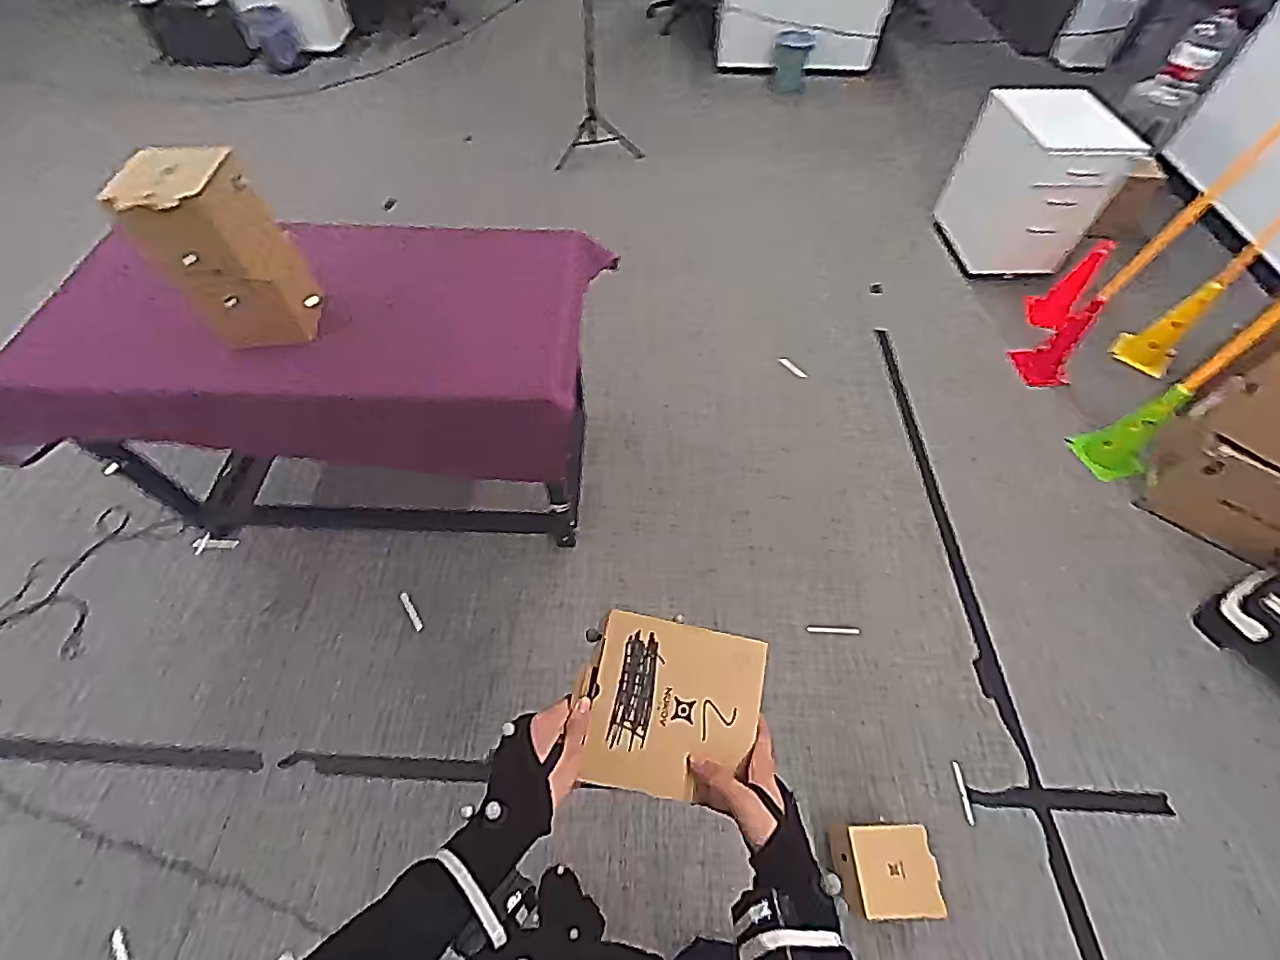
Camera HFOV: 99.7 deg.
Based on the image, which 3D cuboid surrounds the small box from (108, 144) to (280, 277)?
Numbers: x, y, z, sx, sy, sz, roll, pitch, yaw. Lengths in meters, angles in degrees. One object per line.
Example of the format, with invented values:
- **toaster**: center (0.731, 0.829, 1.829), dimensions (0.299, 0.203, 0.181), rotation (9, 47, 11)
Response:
- **small box**: center (-0.831, -0.513, 1.033), dimensions (0.168, 0.176, 0.179), rotation (-3, 57, -2)

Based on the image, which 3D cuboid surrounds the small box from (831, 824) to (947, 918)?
- **small box**: center (0.552, 0.886, 1.234), dimensions (0.179, 0.176, 0.168), rotation (-1, 57, -2)

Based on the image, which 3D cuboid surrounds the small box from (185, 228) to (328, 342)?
- **small box**: center (-0.813, -0.417, 1.168), dimensions (0.179, 0.176, 0.168), rotation (-6, 58, -6)
